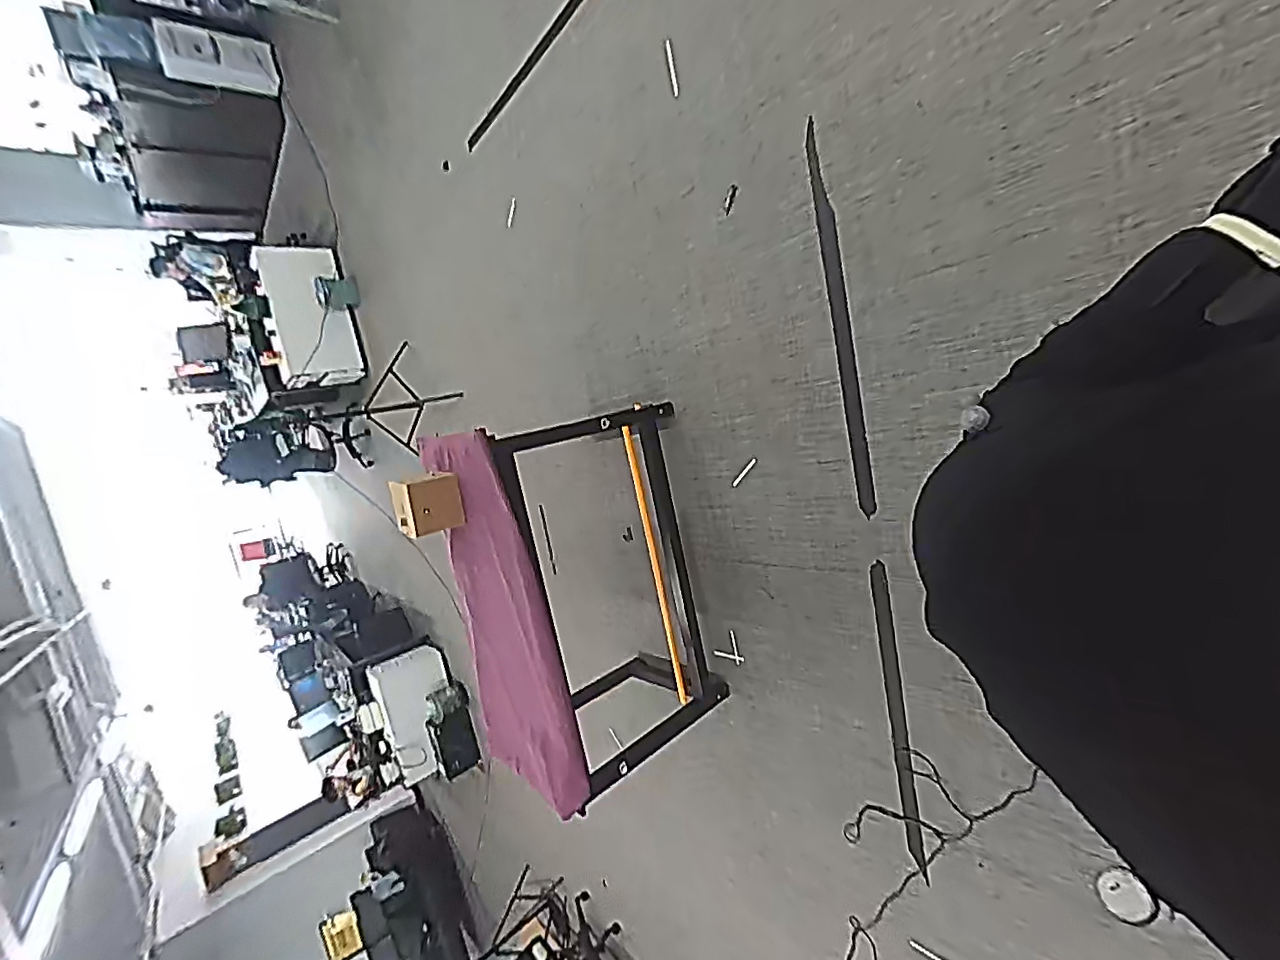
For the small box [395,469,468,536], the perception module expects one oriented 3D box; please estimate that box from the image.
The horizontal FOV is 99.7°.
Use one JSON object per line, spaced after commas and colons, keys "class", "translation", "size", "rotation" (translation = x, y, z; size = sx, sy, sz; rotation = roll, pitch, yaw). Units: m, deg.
{"class": "small box", "translation": [-0.691, 0.070, 1.806], "size": [0.168, 0.176, 0.179], "rotation": [5, 106, 48]}
